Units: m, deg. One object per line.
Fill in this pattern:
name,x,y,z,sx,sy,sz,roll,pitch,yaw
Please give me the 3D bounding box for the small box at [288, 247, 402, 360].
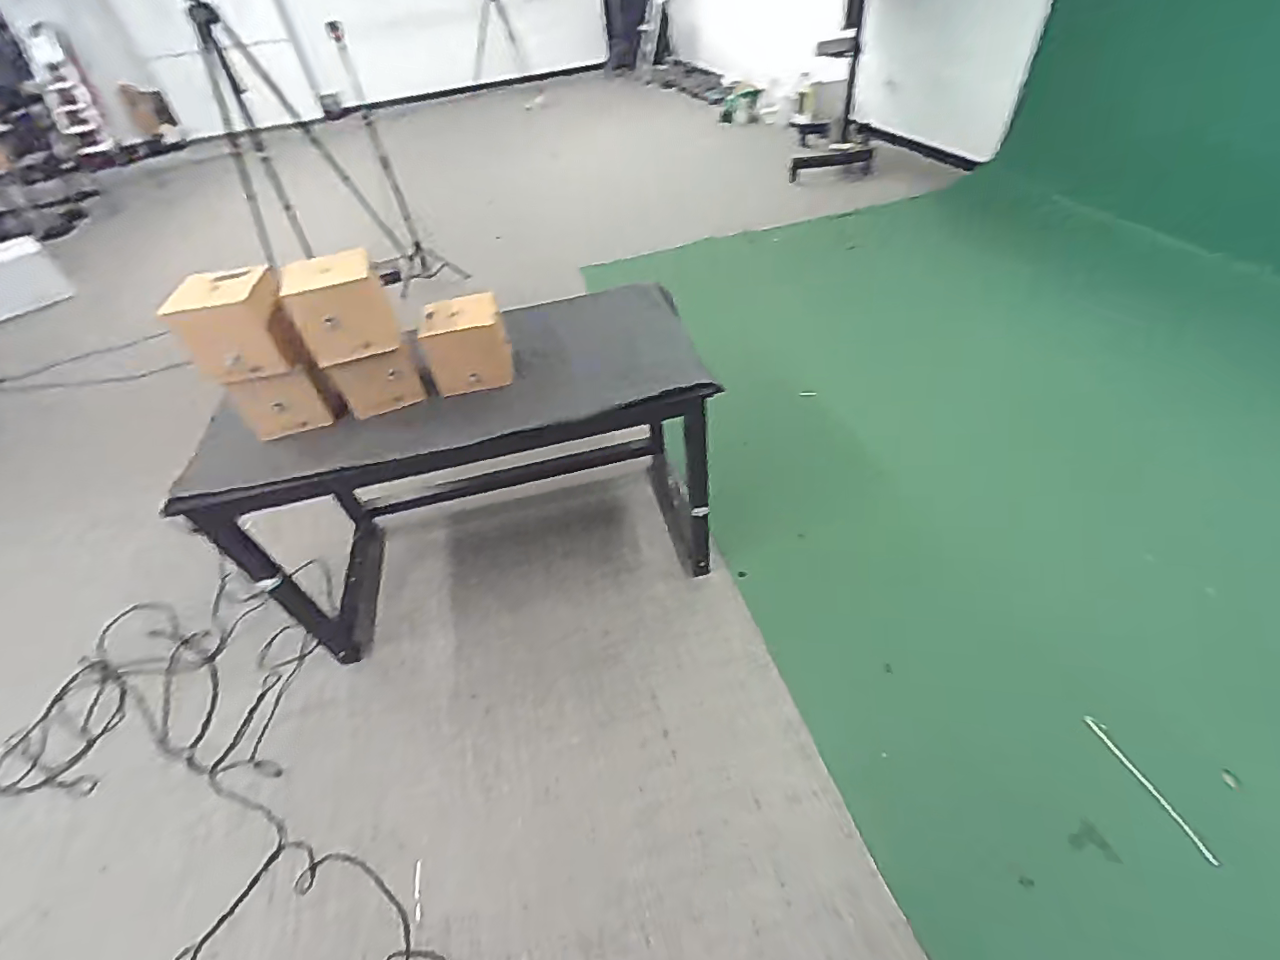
small box,-0.632,-0.379,1.177,0.168,0.176,0.179,-18,45,-12
